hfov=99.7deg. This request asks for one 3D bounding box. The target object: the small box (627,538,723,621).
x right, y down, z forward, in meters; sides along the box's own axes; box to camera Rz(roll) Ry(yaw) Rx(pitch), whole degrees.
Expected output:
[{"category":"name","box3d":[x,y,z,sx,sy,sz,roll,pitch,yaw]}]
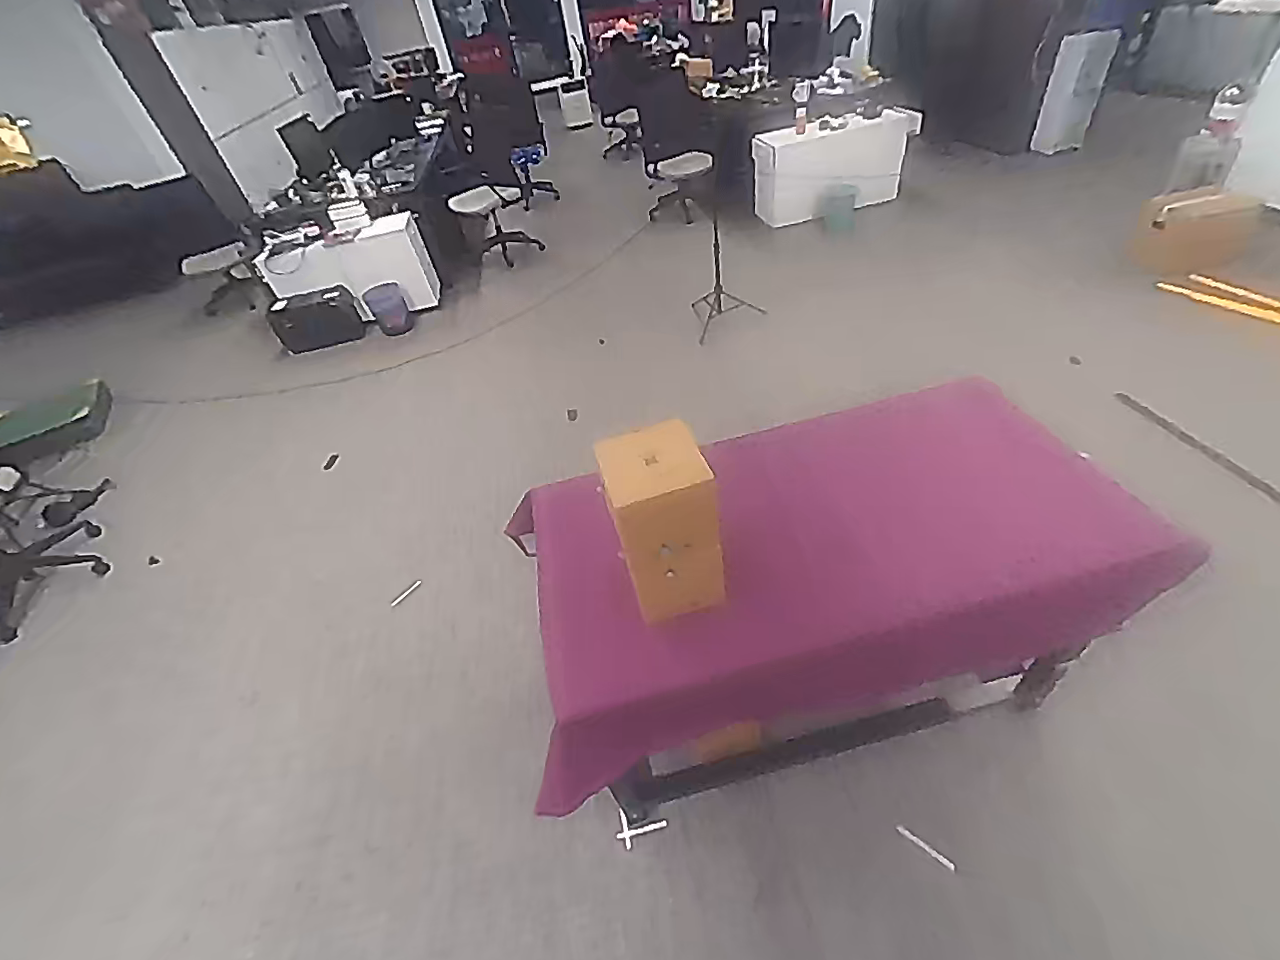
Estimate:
[{"category":"small box","box3d":[0.055,0.143,1.055,0.168,0.176,0.179,-16,43,-4]}]

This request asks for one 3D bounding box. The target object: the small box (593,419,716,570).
[{"category":"small box","box3d":[0.026,0.025,0.945,0.168,0.176,0.179,-17,43,-5]}]
